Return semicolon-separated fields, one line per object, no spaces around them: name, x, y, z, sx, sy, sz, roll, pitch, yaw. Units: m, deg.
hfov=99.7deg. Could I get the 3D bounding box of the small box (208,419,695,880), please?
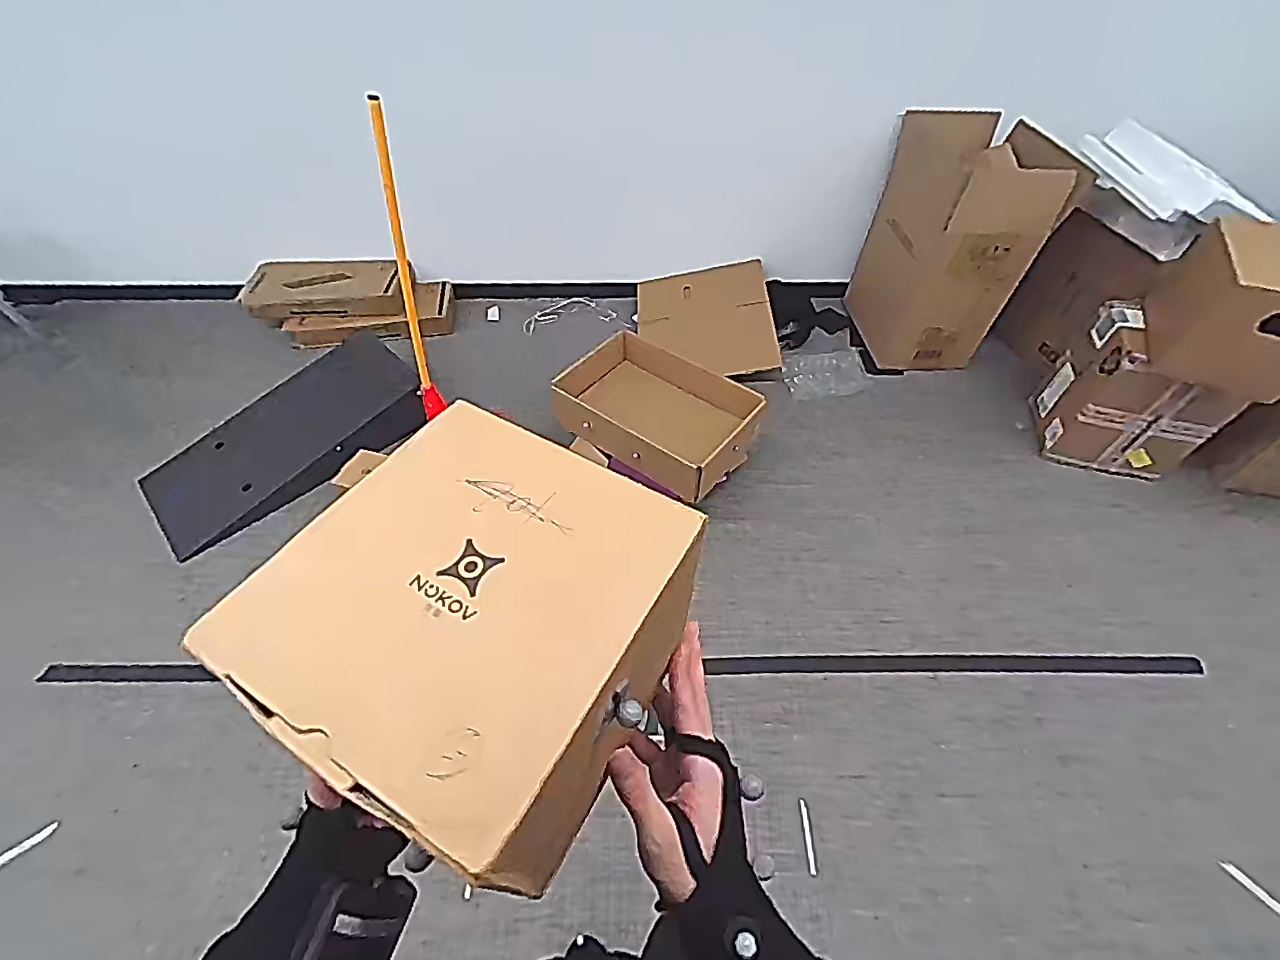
small box;-0.082;0.102;0.323;0.168;0.176;0.179;25;55;16
